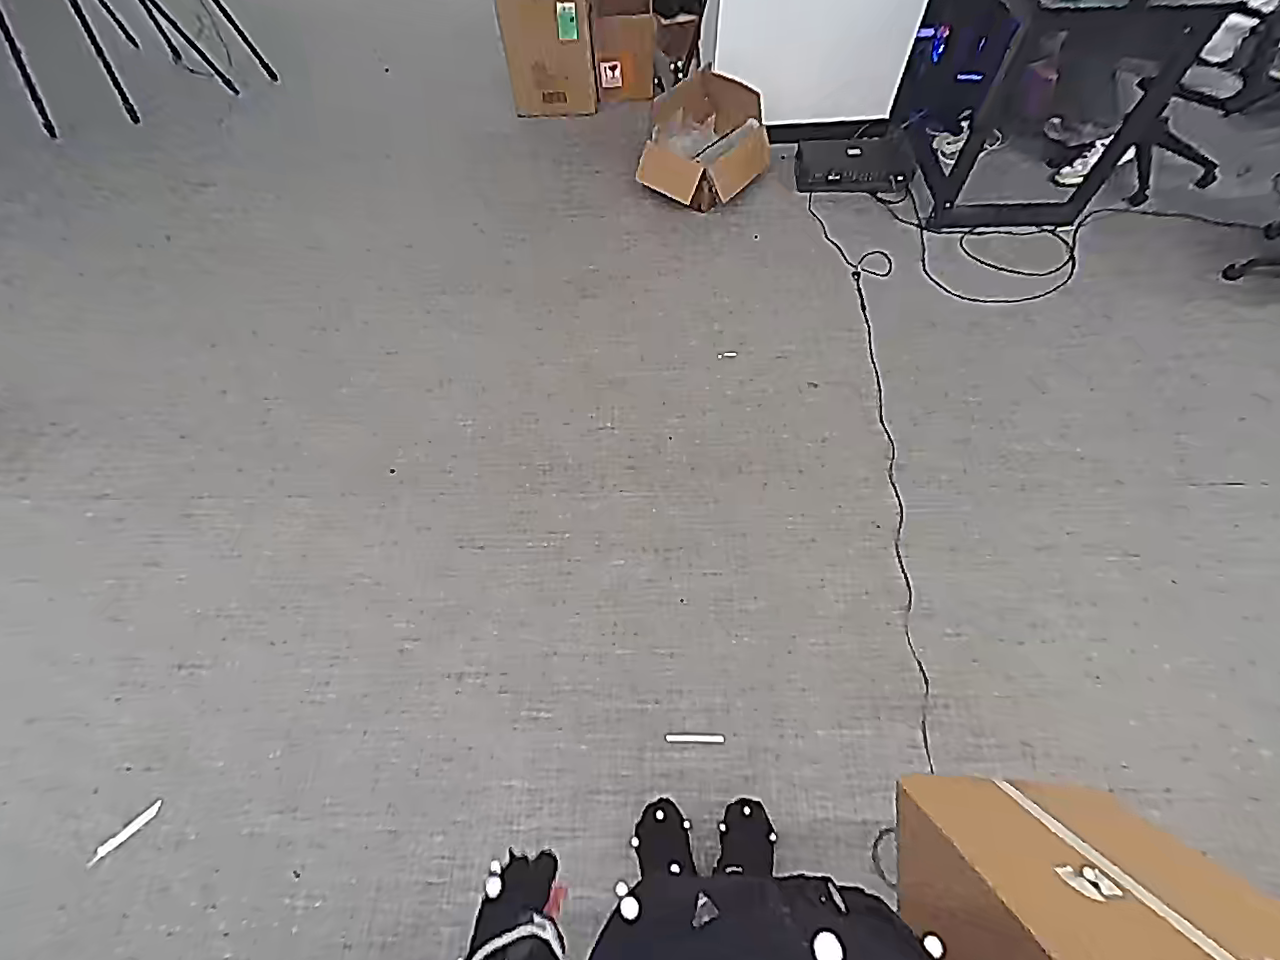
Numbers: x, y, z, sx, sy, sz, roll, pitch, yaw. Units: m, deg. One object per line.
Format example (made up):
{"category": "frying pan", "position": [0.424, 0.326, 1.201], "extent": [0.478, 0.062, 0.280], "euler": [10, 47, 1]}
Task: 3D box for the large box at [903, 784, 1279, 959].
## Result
{"category": "large box", "position": [0.558, 0.634, 0.657], "extent": [0.320, 0.408, 0.320], "euler": [1, 86, 4]}
